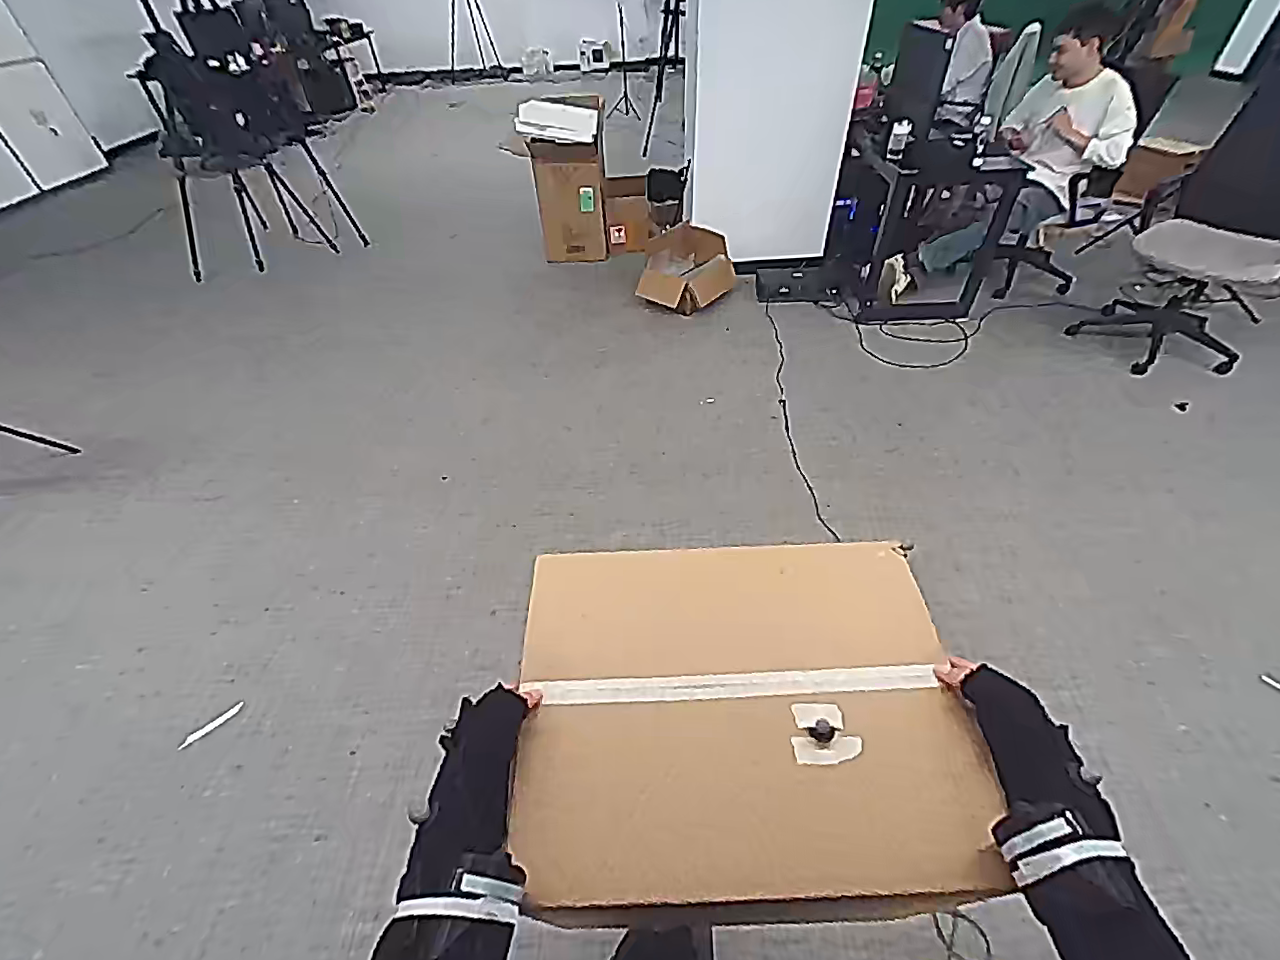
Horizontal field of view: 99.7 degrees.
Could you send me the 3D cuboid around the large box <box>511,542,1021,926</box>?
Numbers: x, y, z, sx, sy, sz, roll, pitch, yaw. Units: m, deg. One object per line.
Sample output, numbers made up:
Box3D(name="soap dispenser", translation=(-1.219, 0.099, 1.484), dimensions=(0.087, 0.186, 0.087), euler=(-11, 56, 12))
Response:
Box3D(name="large box", translation=(0.095, 0.293, 0.621), dimensions=(0.408, 0.320, 0.320), euler=(-2, 48, 0))
